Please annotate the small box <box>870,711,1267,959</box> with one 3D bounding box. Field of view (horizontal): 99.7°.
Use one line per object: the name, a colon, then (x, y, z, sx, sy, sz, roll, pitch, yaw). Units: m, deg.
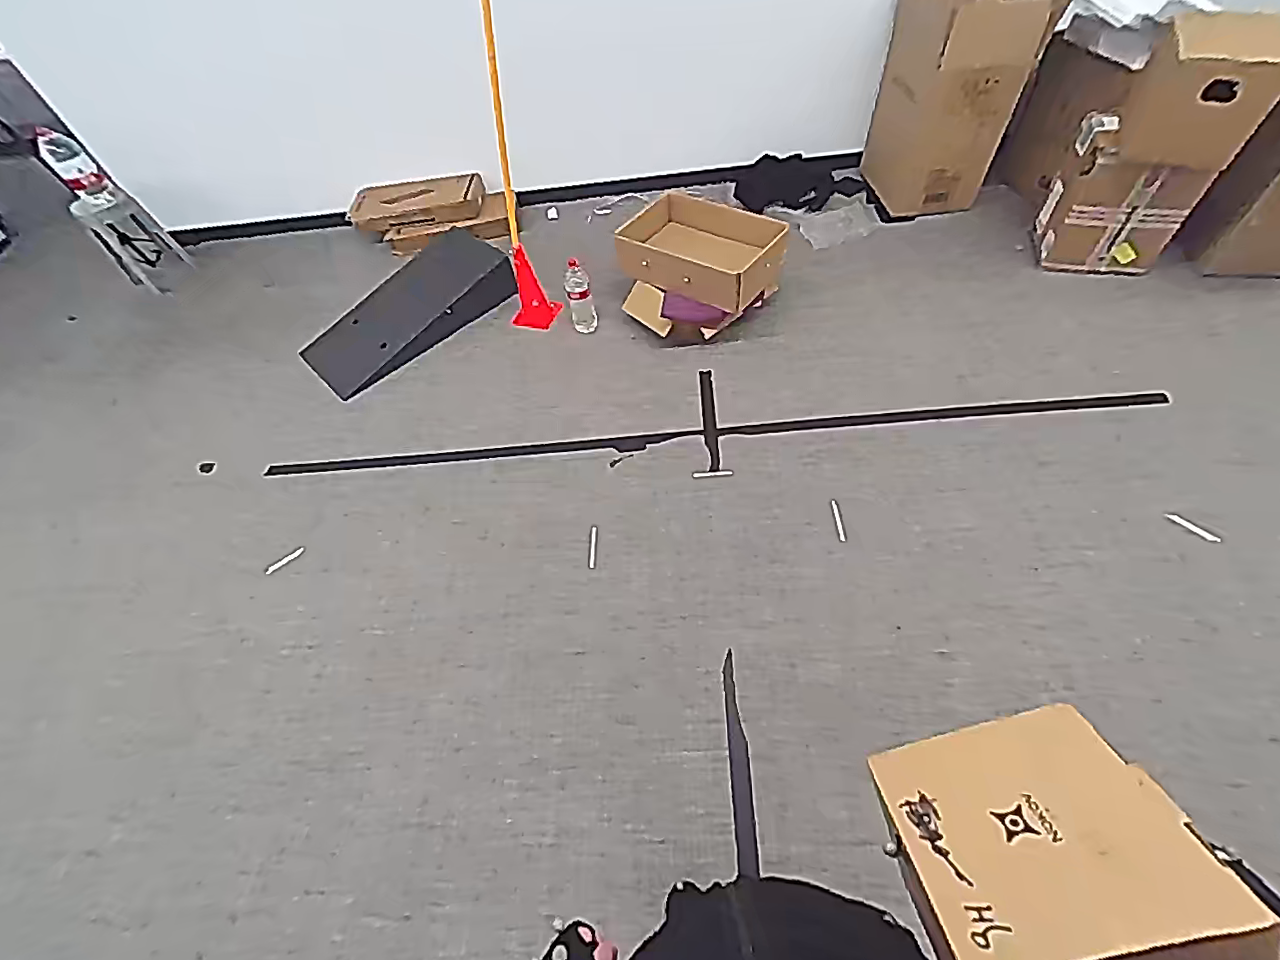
small box: (0.311, 0.324, 0.426, 0.179, 0.176, 0.168, -19, 20, 8)
